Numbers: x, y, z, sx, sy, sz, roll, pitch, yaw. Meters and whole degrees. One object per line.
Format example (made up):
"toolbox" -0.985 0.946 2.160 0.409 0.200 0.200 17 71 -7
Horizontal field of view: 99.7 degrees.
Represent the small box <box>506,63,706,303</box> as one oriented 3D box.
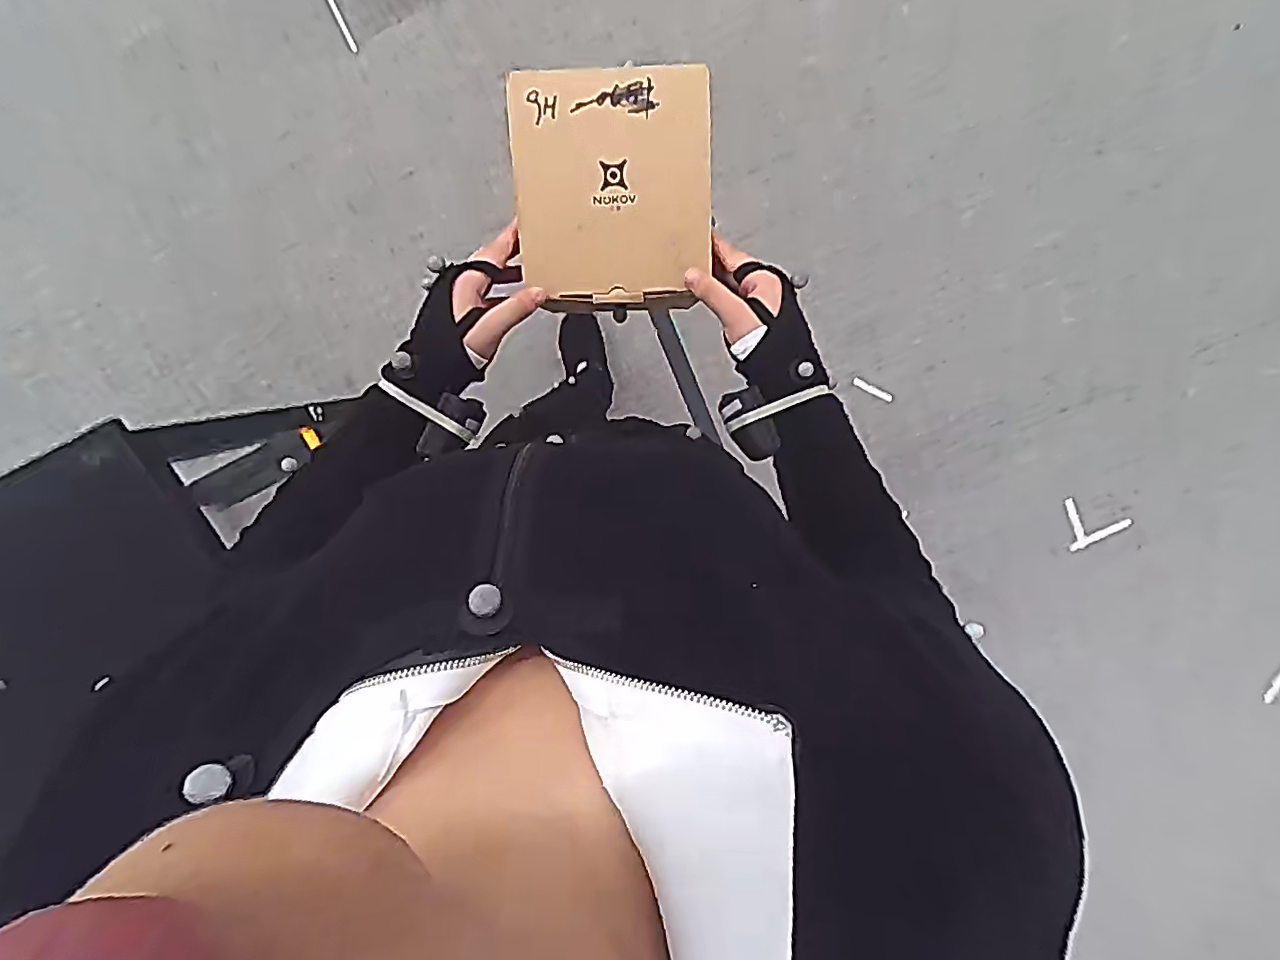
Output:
"small box" -0.025 -0.270 0.535 0.168 0.176 0.179 -2 104 0
